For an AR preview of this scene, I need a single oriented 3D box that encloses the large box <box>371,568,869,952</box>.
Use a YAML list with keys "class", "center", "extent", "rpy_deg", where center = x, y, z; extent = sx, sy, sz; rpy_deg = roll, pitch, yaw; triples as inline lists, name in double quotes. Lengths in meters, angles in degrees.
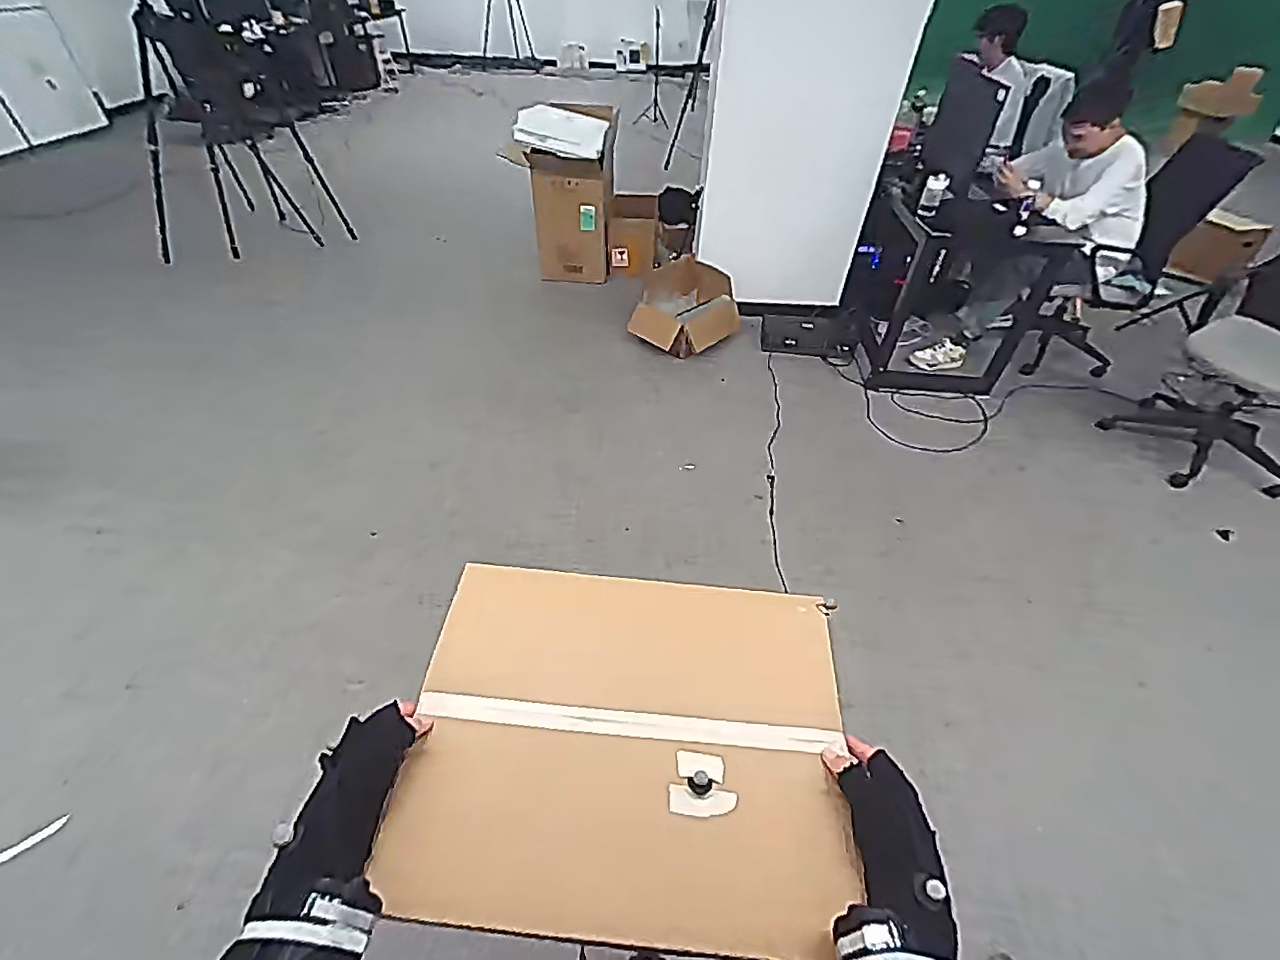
- class: "large box"
  center: [-0.014, 0.329, 0.630]
  extent: [0.408, 0.320, 0.320]
  rpy_deg: [6, 50, 1]
